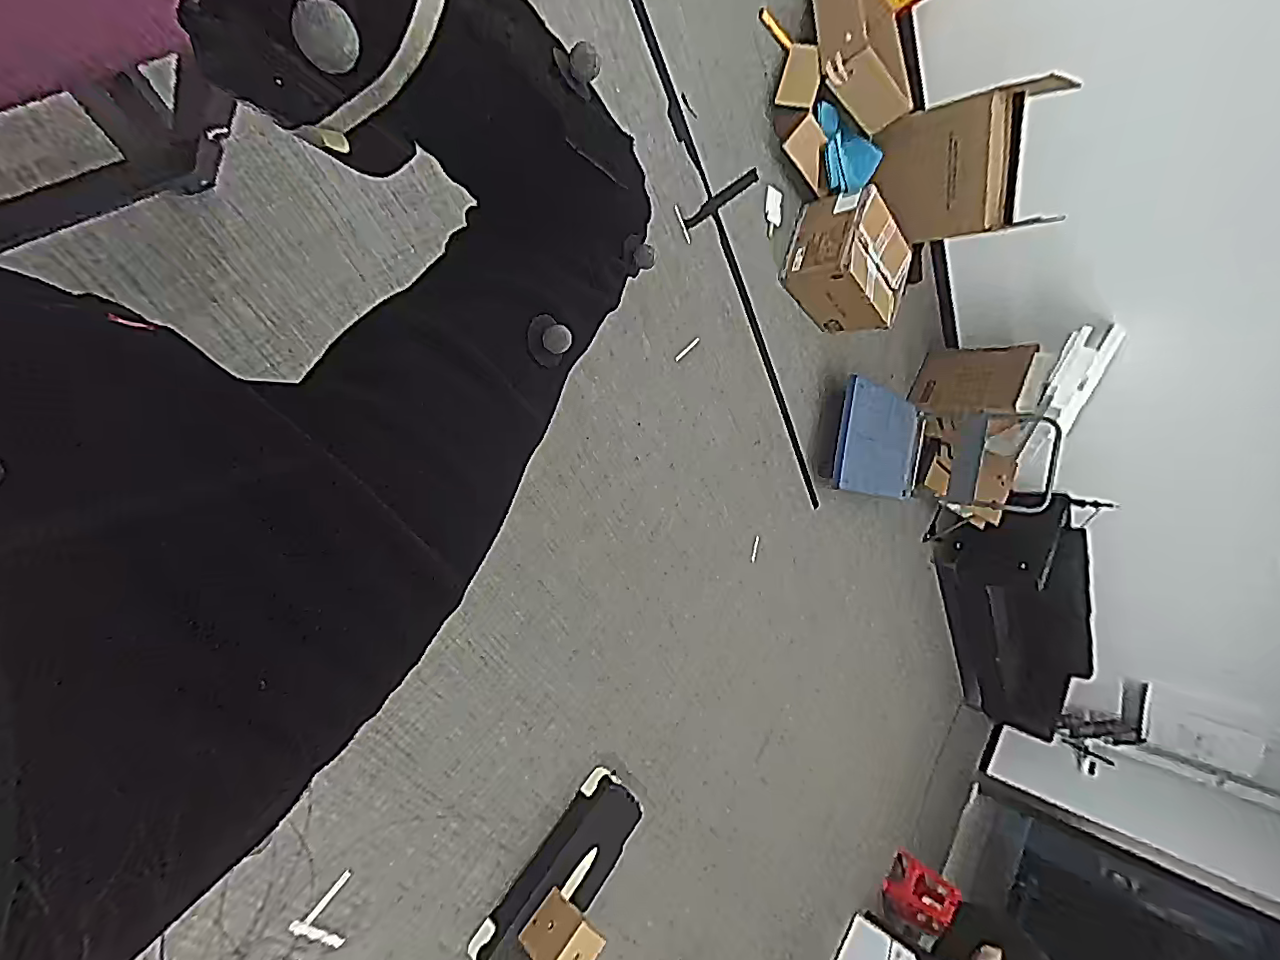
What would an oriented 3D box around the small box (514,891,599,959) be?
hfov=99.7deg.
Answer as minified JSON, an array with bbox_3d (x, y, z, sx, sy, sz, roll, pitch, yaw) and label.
[{"bbox_3d":[-0.270,1.472,1.731,0.168,0.176,0.179,-43,124,-30],"label":"small box"}]
